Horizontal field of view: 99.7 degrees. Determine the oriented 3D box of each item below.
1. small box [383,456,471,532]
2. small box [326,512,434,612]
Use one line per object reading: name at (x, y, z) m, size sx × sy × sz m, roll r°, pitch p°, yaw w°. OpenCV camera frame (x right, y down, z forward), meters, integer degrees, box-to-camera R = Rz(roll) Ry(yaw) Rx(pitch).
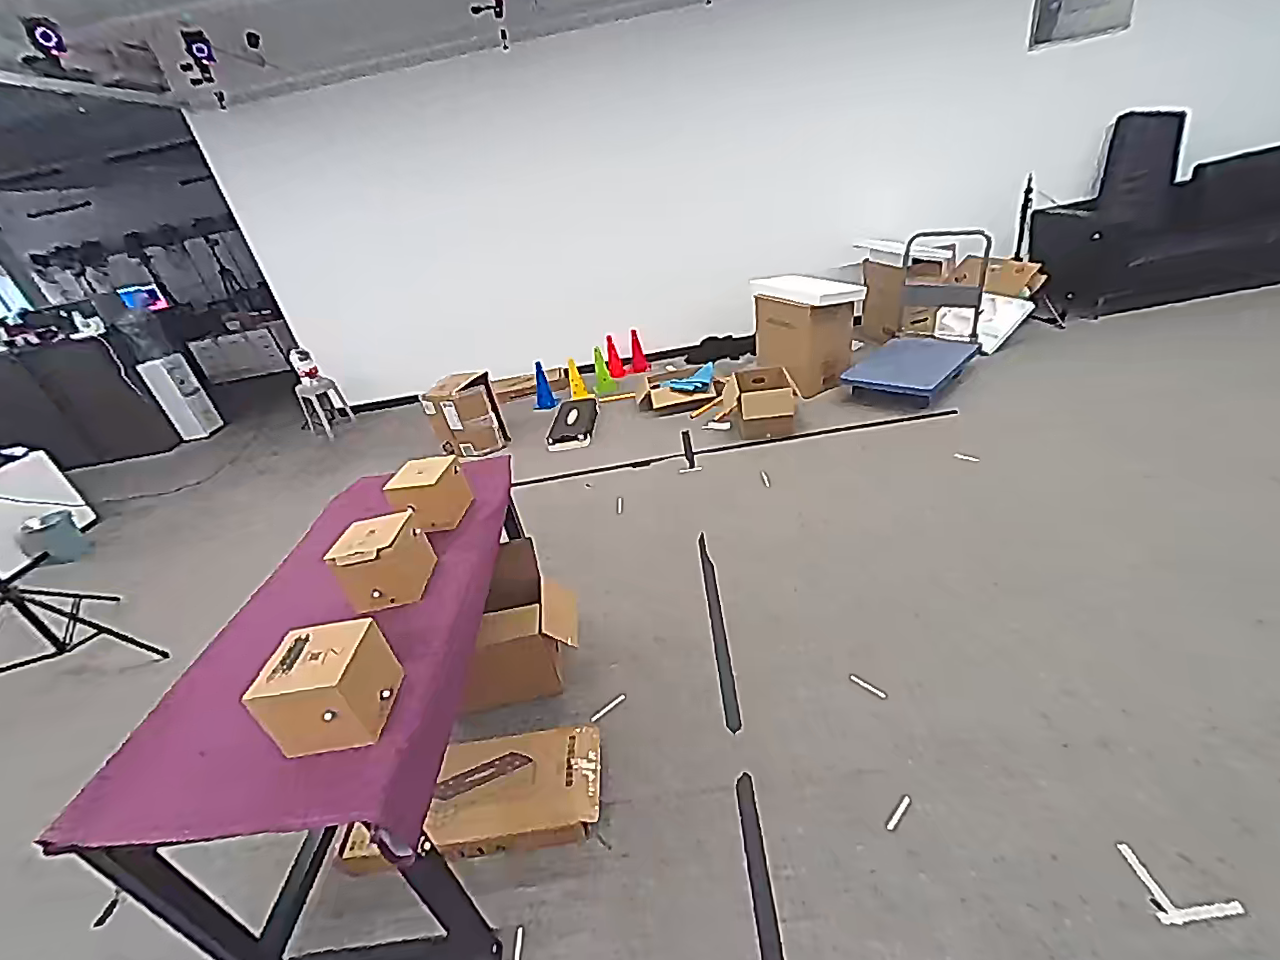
small box at (-0.640, 0.048, 1.653) m, size 0.168 × 0.176 × 0.179 m, roll -7°, pitch 30°, yaw 9°
small box at (-0.648, 0.208, 1.377) m, size 0.168 × 0.176 × 0.179 m, roll -12°, pitch 29°, yaw 3°
